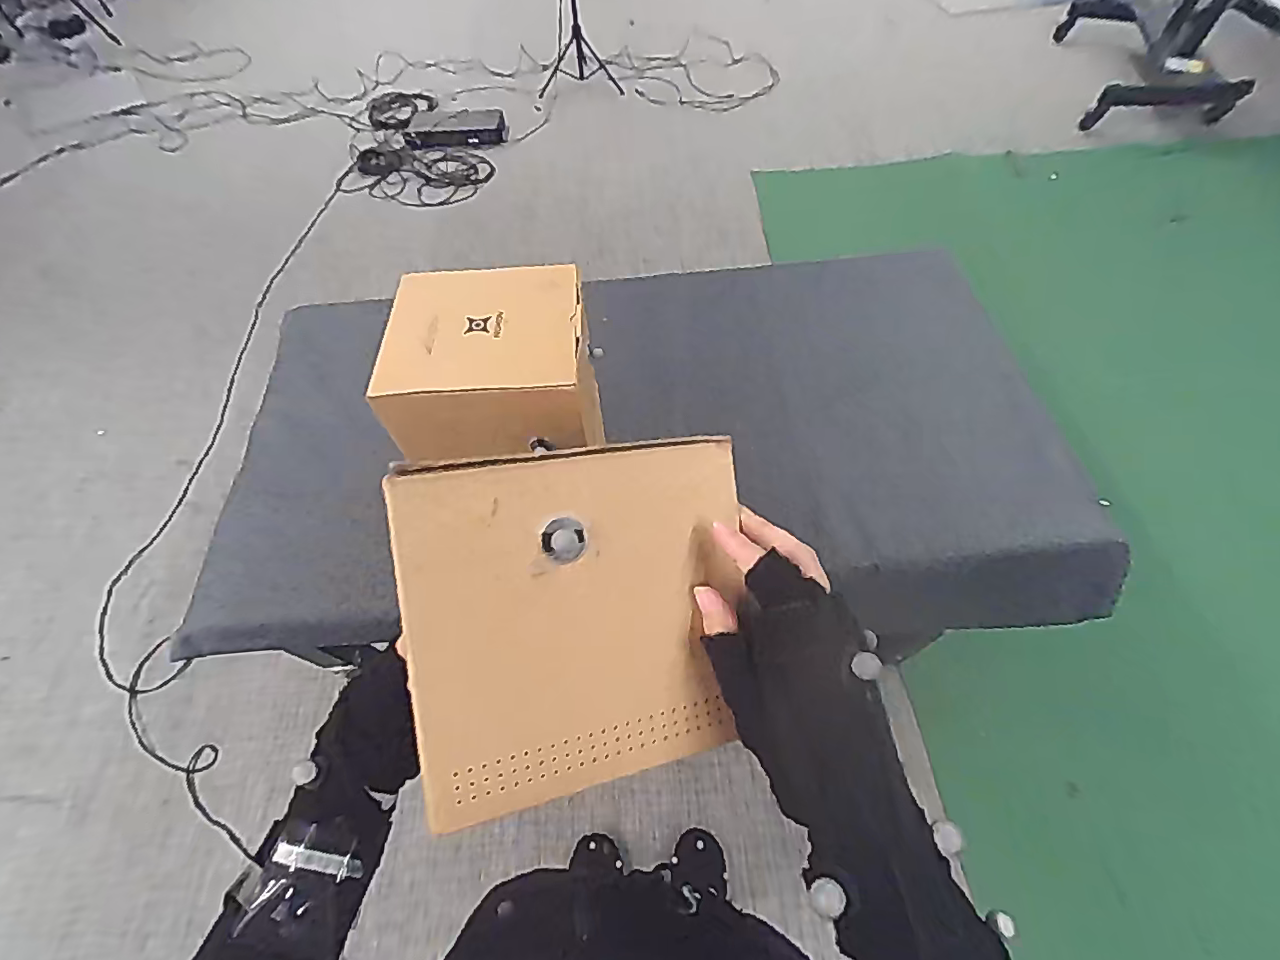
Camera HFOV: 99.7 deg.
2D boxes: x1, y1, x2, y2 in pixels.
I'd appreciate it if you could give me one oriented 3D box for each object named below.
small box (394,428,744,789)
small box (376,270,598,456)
[{"bbox_3d":[-0.050,0.065,0.354,0.179,0.168,0.176,-7,92,-21],"label":"small box"},{"bbox_3d":[-0.137,-0.092,0.564,0.179,0.176,0.168,-4,55,1],"label":"small box"}]
